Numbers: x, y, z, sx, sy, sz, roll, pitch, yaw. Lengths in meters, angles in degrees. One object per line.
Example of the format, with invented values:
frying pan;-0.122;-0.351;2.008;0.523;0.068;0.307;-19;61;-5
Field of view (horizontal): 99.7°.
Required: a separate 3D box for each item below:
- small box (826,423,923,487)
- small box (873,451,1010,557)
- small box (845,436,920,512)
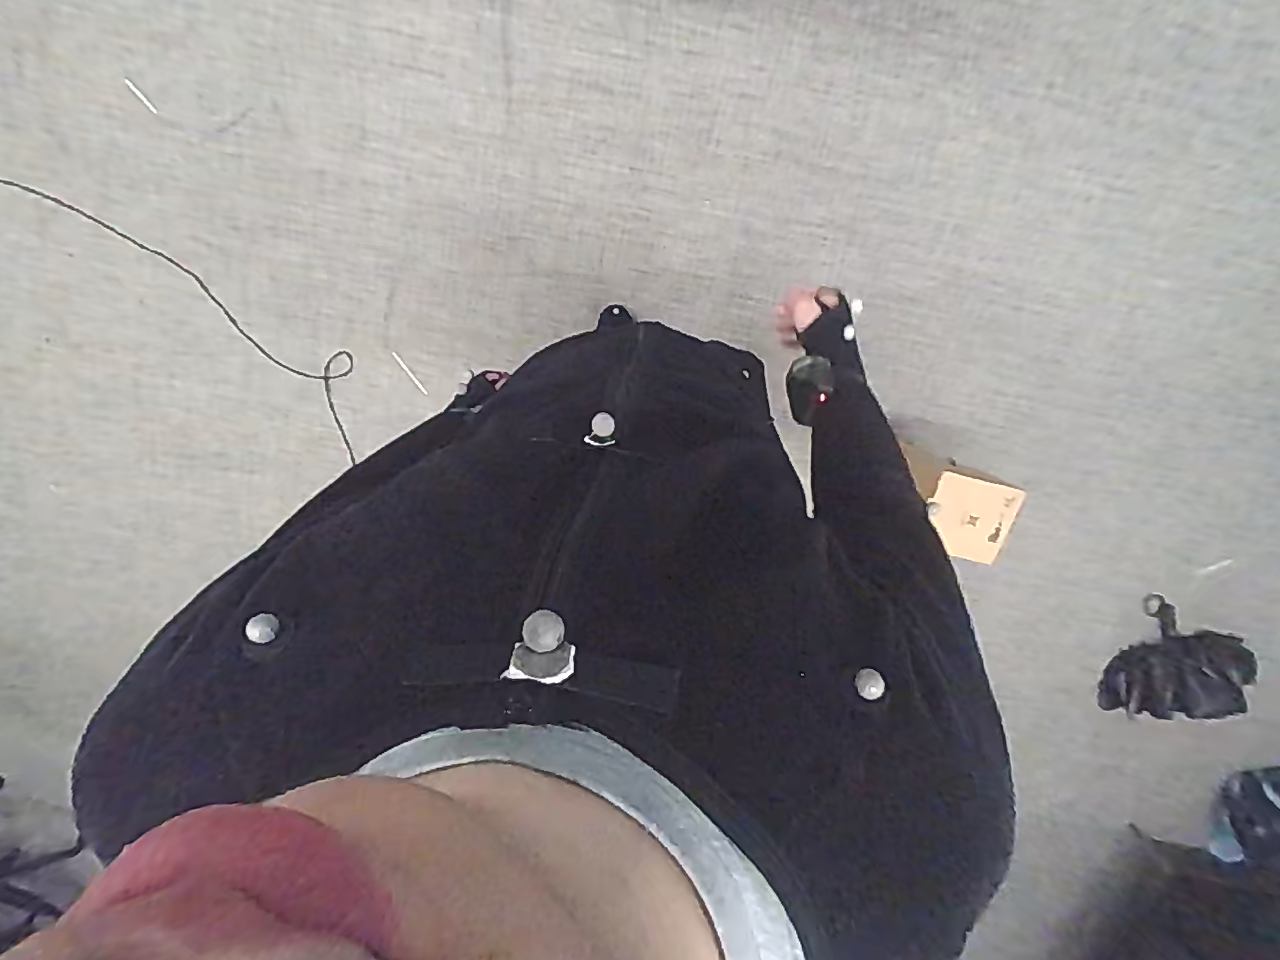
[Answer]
small box;0.649;-0.046;1.496;0.179;0.176;0.168;22;106;-5
small box;0.643;0.044;1.182;0.179;0.176;0.168;14;106;-4
small box;0.646;0.005;1.340;0.179;0.176;0.168;23;106;-6
